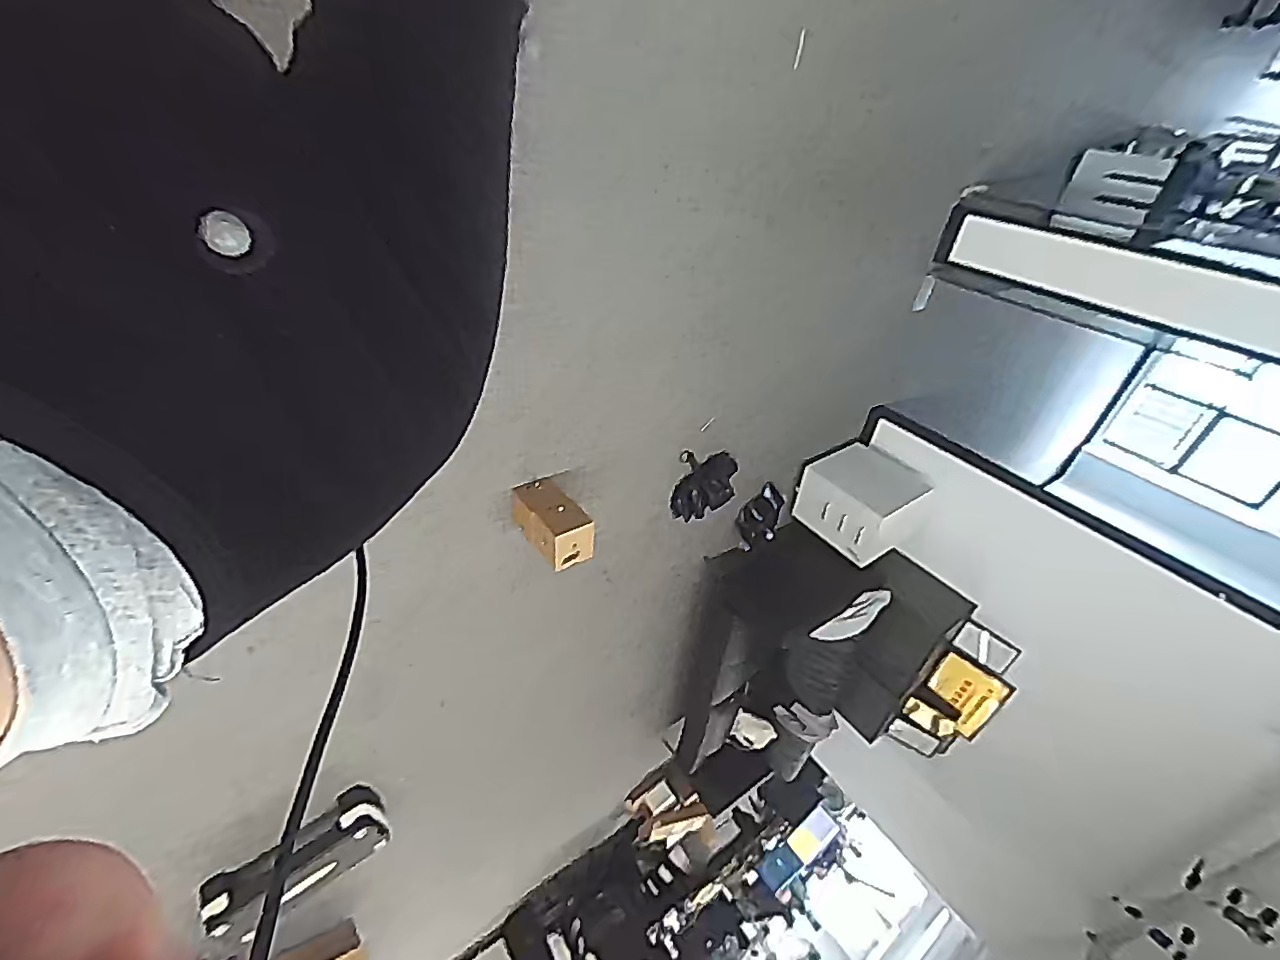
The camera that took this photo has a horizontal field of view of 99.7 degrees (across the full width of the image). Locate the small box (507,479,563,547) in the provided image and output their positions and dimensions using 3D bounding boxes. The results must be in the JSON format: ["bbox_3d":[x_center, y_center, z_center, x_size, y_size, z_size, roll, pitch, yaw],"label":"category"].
[{"bbox_3d":[-0.407,0.124,2.113,0.168,0.176,0.179,-23,134,-32],"label":"small box"}]

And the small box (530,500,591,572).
[{"bbox_3d":[-0.301,0.204,2.015,0.168,0.176,0.179,-21,134,-32],"label":"small box"}]
